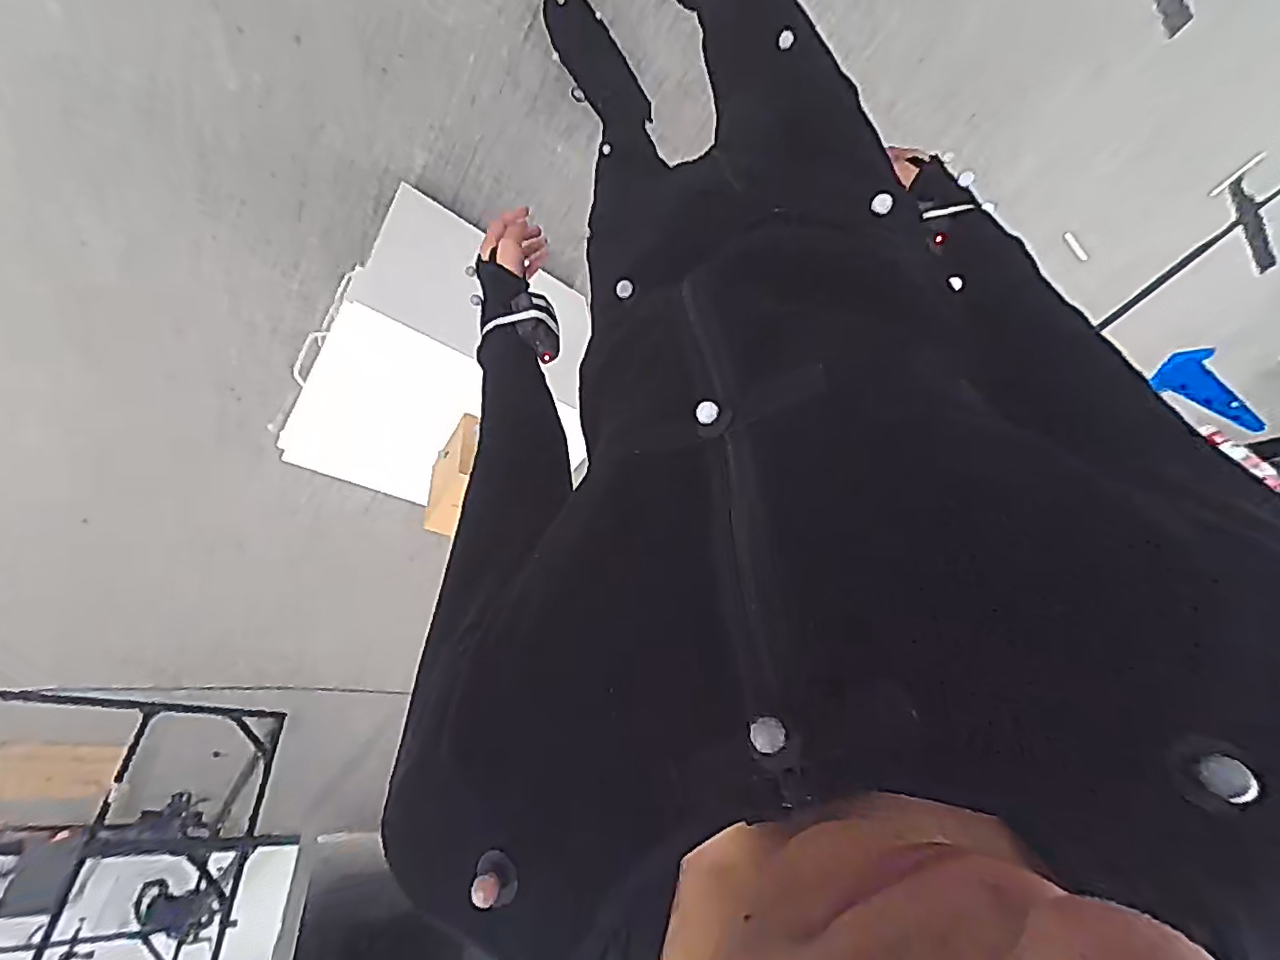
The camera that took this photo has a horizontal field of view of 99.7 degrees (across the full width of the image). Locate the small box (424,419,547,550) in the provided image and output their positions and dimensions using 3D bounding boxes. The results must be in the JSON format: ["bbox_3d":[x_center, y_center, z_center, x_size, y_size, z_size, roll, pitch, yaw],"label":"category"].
[{"bbox_3d":[-0.300,0.007,1.062,0.179,0.176,0.168,22,126,-31],"label":"small box"}]
